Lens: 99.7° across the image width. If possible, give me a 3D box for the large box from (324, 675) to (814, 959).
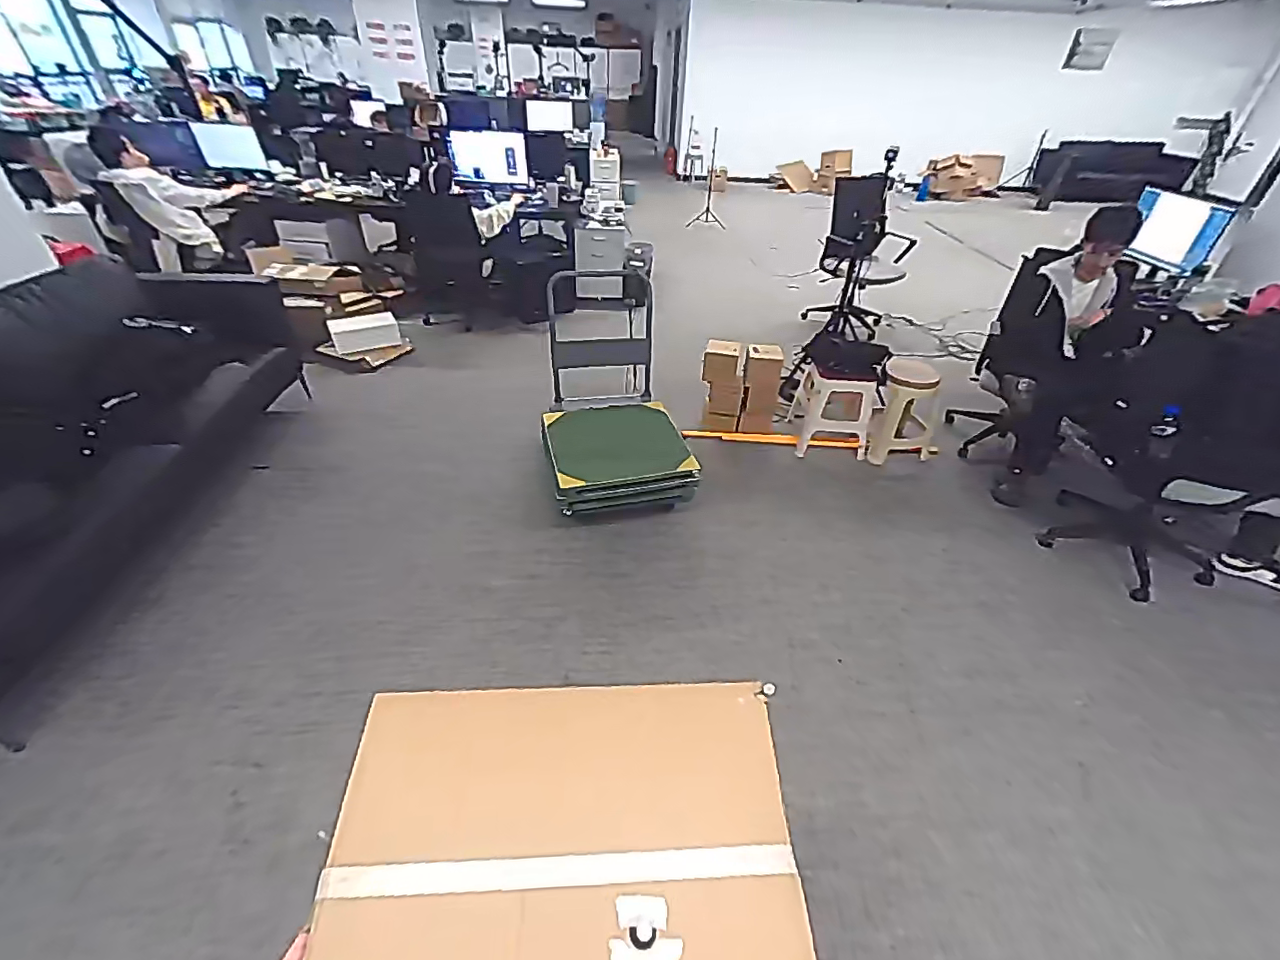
[{"bbox_3d":[-0.066,0.431,0.594,0.408,0.320,0.320,-1,51,-3],"label":"large box"}]
